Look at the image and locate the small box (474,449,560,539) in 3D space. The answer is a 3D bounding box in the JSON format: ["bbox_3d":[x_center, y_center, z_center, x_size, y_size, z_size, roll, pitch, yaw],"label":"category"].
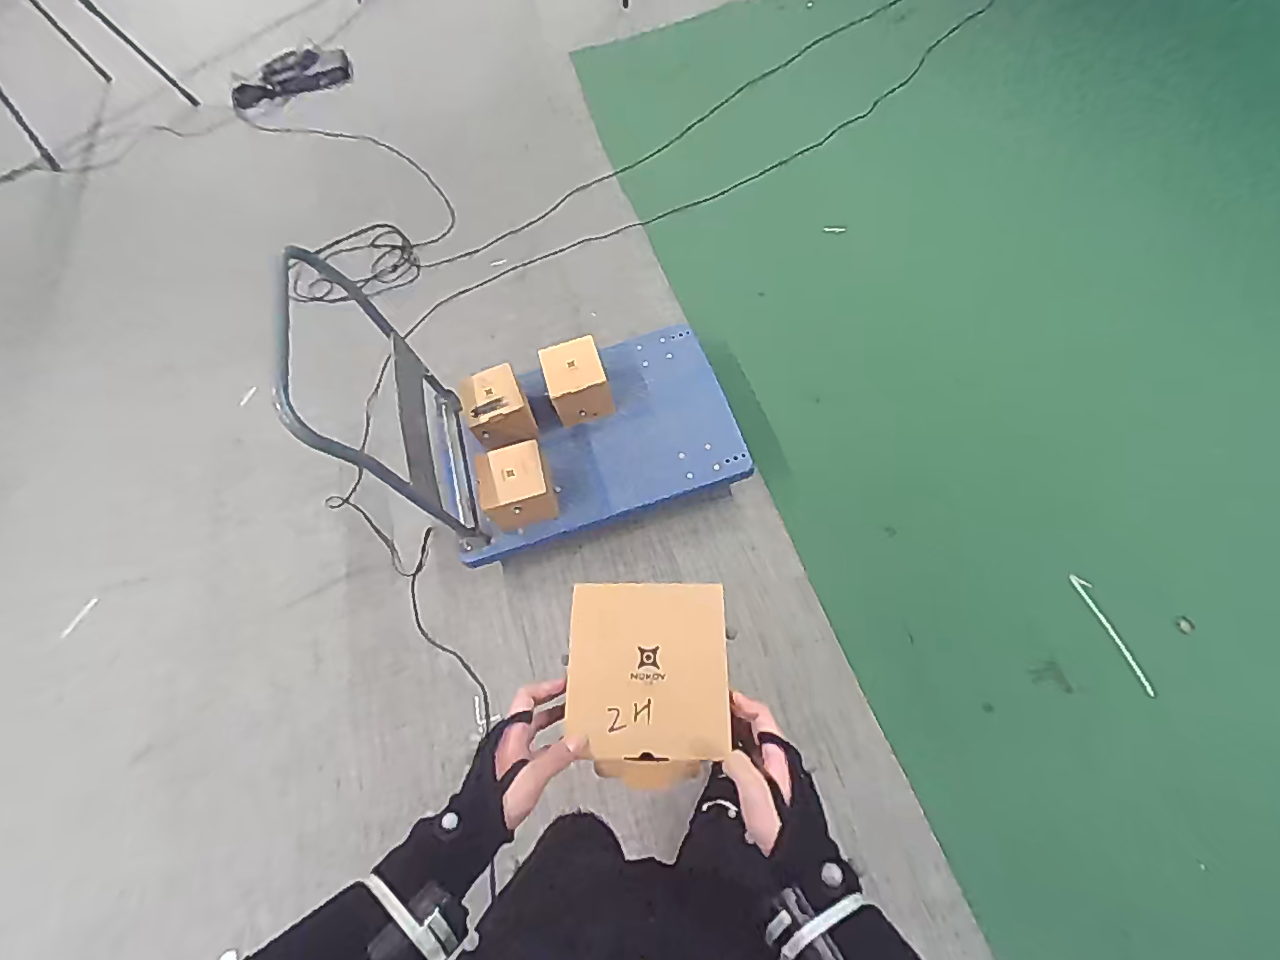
[{"bbox_3d":[-0.331,0.045,1.472,0.179,0.176,0.168,-15,63,-1],"label":"small box"}]

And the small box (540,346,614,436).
[{"bbox_3d":[-0.185,-0.262,1.609,0.168,0.176,0.179,-18,64,-2],"label":"small box"}]

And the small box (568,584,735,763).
[{"bbox_3d":[0.015,0.228,0.630,0.168,0.176,0.179,-1,64,3],"label":"small box"}]
